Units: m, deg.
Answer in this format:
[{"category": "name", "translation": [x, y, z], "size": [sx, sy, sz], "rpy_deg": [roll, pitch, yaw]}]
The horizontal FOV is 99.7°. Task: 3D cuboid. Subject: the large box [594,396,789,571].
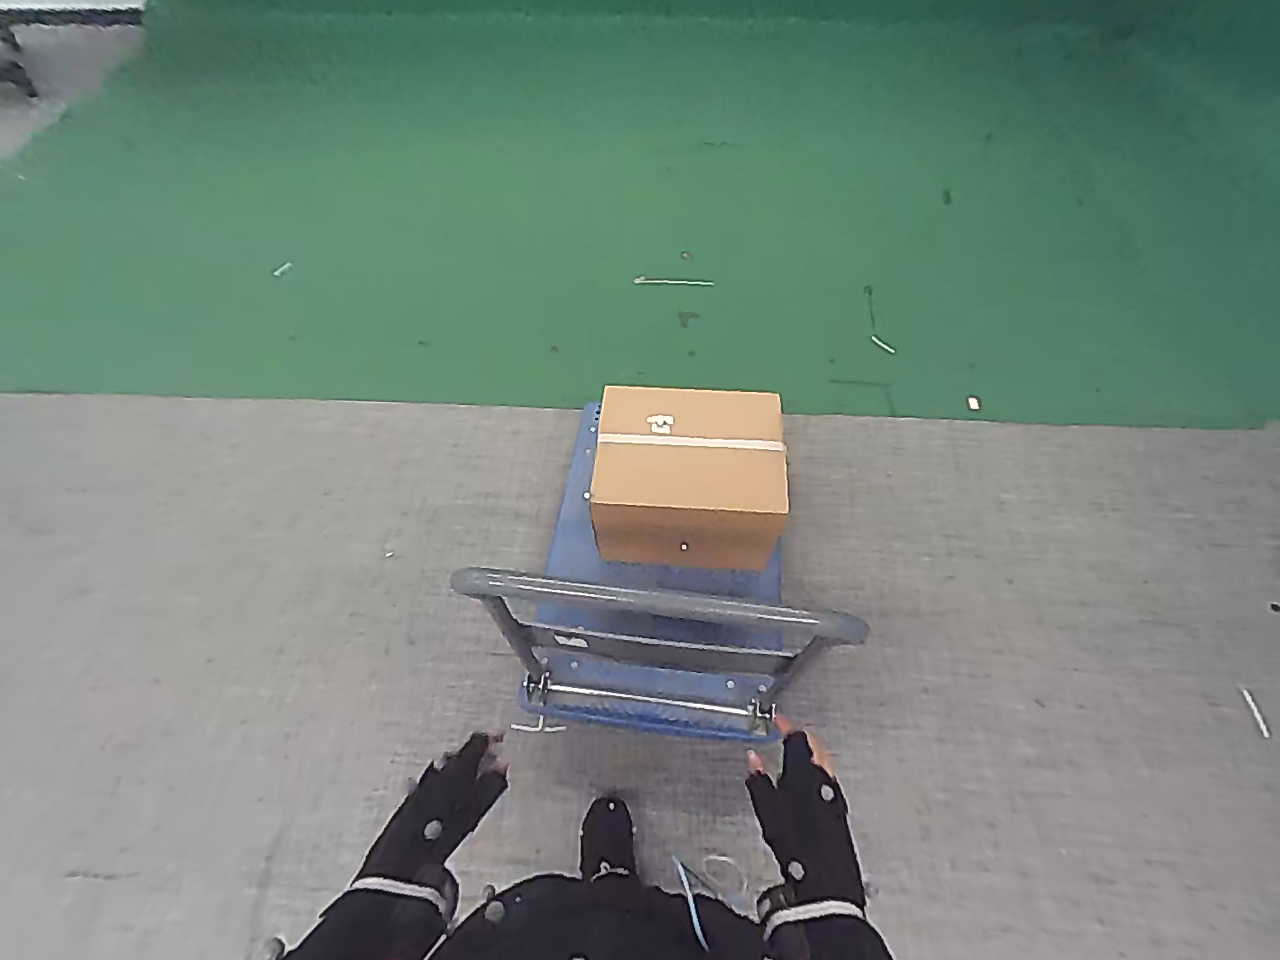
[{"category": "large box", "translation": [0.117, 0.017, 1.301], "size": [0.408, 0.320, 0.320], "rpy_deg": [3, 58, 3]}]
